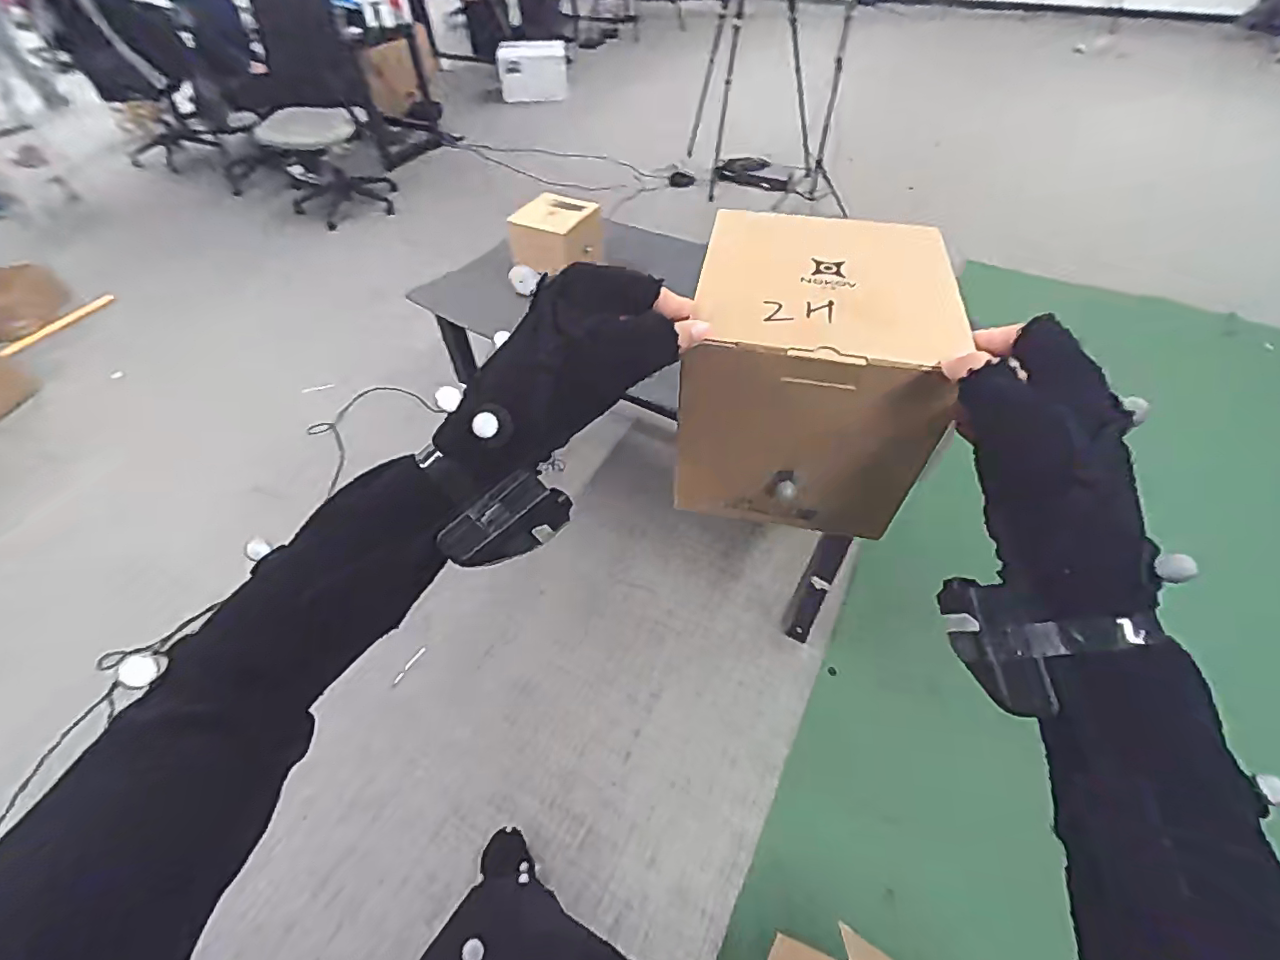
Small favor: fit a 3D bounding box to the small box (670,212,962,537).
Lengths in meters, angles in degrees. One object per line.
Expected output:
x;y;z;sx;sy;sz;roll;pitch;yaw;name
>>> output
0.118;-0.082;0.425;0.168;0.176;0.179;9;51;8;small box
